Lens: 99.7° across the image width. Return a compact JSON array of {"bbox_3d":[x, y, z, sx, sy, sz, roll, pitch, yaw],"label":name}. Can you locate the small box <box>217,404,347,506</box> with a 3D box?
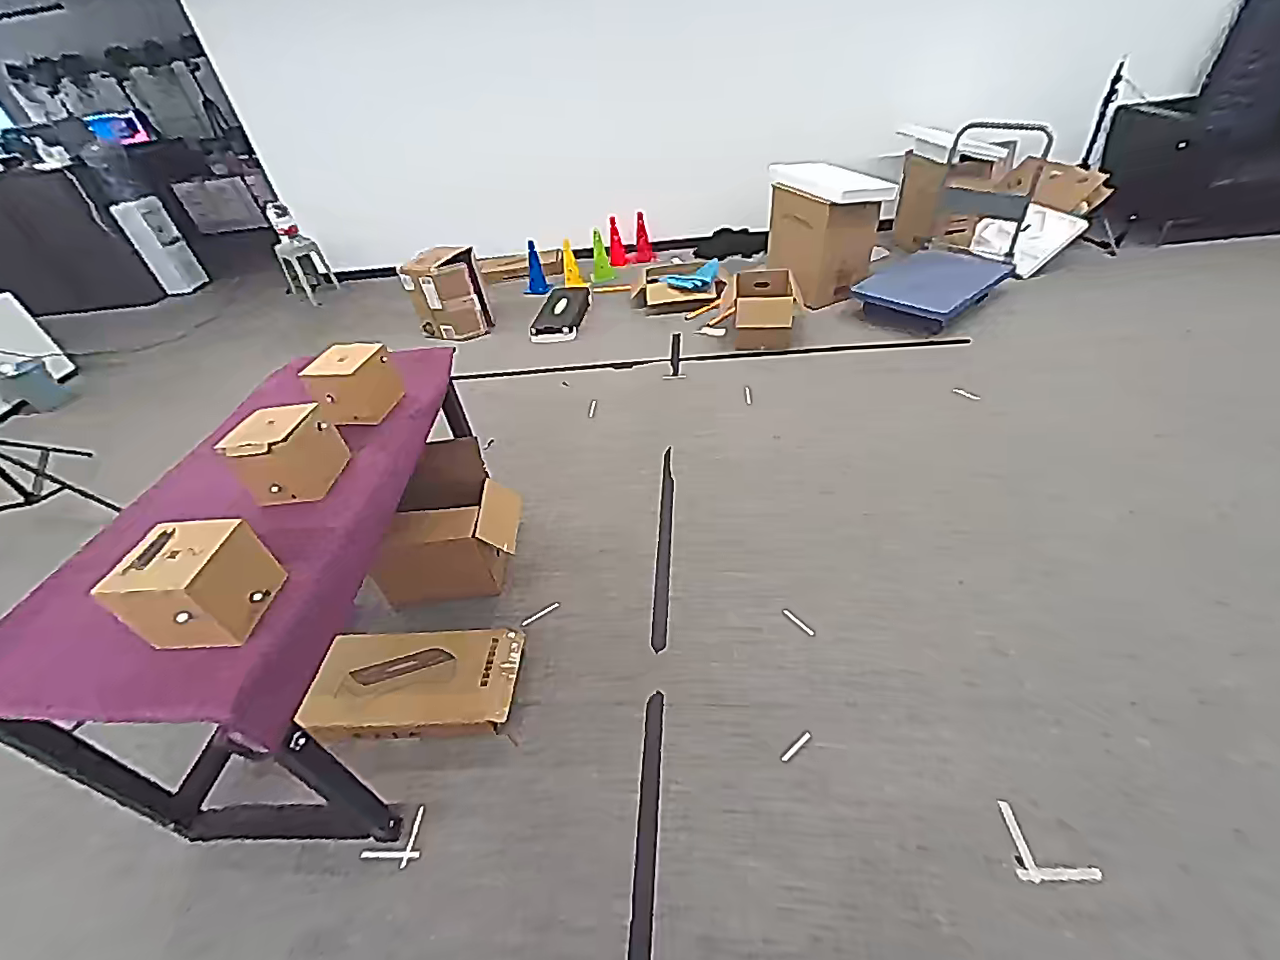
[{"bbox_3d":[-0.841,-0.059,1.296,0.168,0.176,0.179,-6,40,6],"label":"small box"}]

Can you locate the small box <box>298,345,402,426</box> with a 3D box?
[{"bbox_3d":[-0.810,-0.266,1.536,0.168,0.176,0.179,0,41,10],"label":"small box"}]
